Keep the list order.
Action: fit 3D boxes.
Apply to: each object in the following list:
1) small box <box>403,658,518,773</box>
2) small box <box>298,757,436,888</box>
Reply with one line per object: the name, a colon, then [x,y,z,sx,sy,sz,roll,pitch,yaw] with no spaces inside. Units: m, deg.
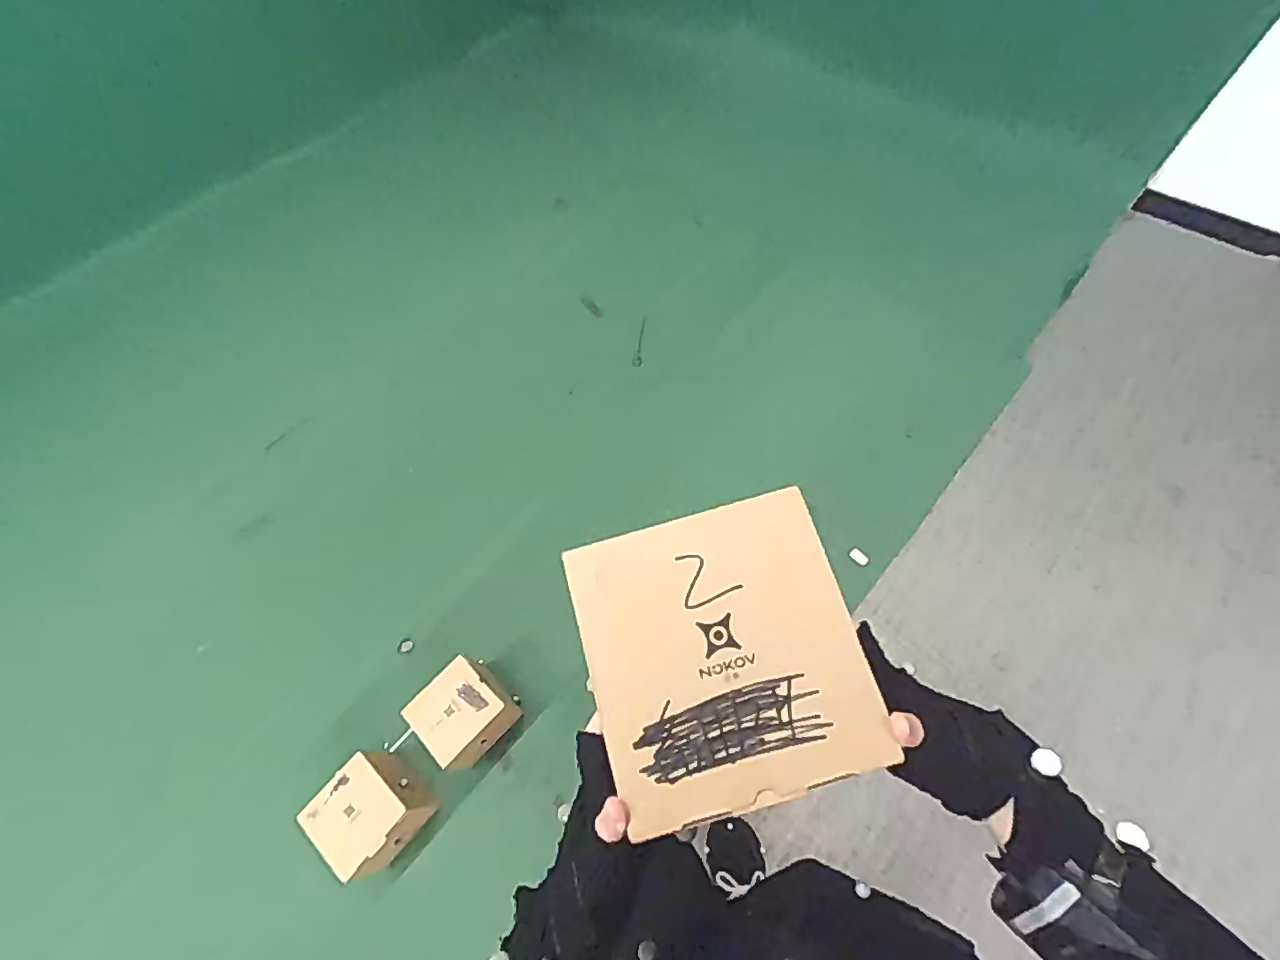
small box: [-0.404,0.548,1.259,0.168,0.176,0.179,40,72,21]
small box: [-0.583,0.729,1.179,0.179,0.176,0.168,37,71,19]
